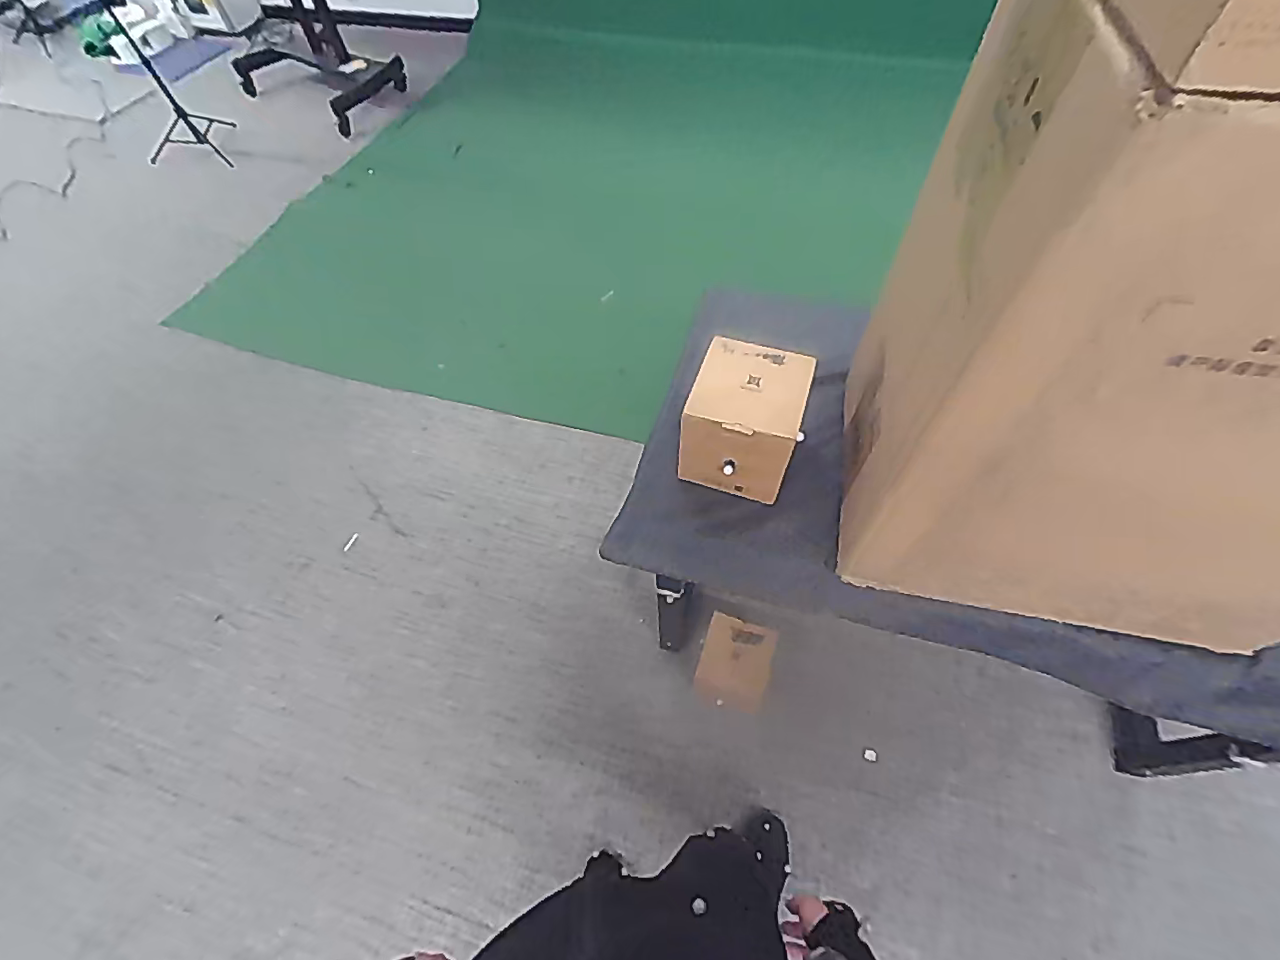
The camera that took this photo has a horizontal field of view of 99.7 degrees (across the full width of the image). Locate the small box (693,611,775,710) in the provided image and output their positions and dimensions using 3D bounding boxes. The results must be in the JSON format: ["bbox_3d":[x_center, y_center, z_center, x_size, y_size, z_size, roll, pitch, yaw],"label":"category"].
[{"bbox_3d":[0.235,0.466,1.387,0.168,0.176,0.179,16,61,13],"label":"small box"}]
